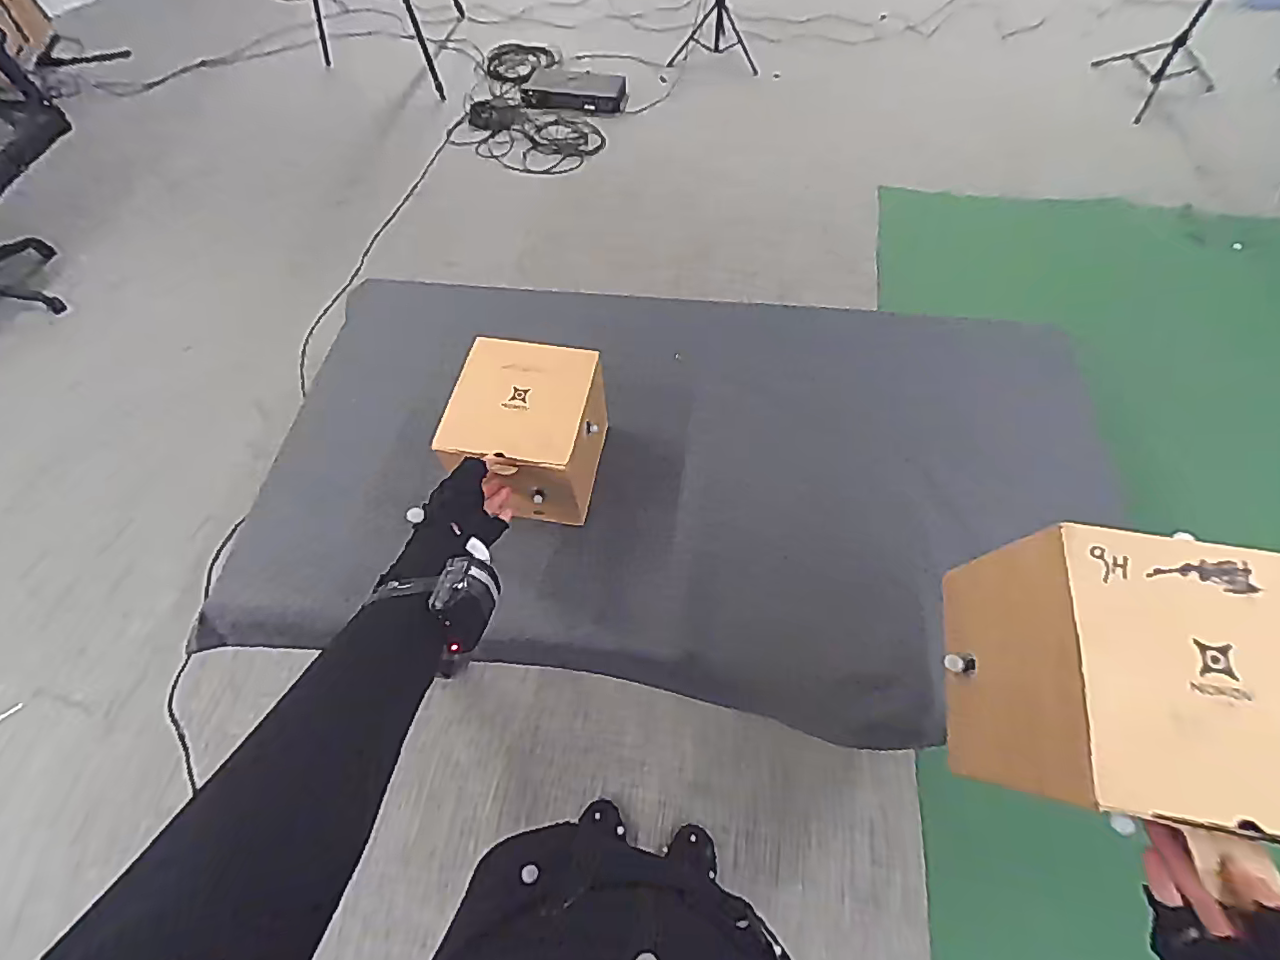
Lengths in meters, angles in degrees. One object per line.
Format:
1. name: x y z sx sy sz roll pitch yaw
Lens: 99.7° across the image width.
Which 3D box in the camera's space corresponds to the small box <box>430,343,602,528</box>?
1. small box: -0.148 -0.053 0.724 0.168 0.176 0.179 8 60 4
